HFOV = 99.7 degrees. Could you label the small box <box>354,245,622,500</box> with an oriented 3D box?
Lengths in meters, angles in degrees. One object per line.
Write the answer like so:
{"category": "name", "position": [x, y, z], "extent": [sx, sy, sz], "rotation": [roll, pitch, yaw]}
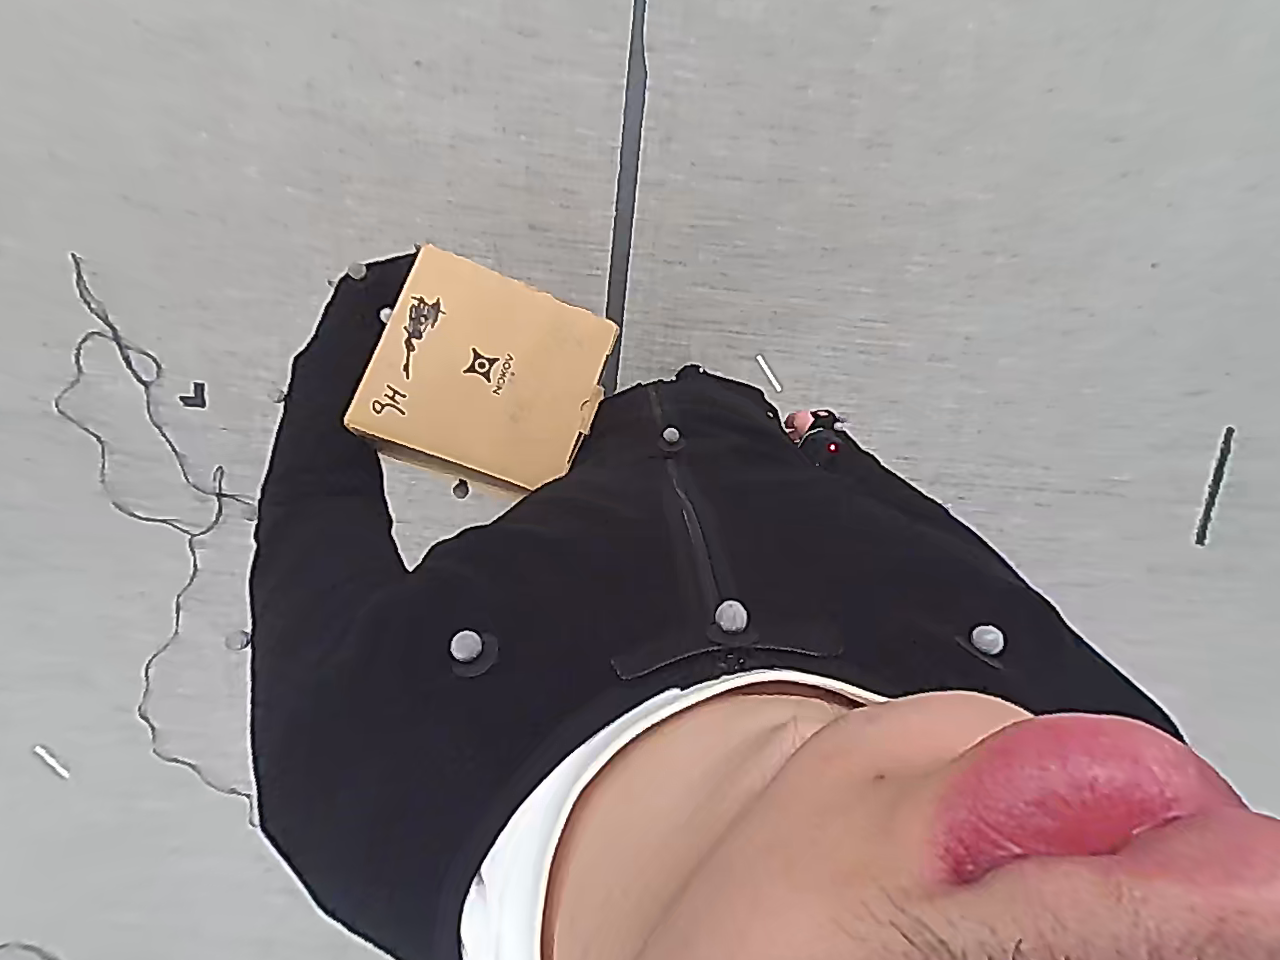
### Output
{"category": "small box", "position": [-0.140, -0.084, 0.528], "extent": [0.179, 0.176, 0.168], "rotation": [20, 78, -12]}
